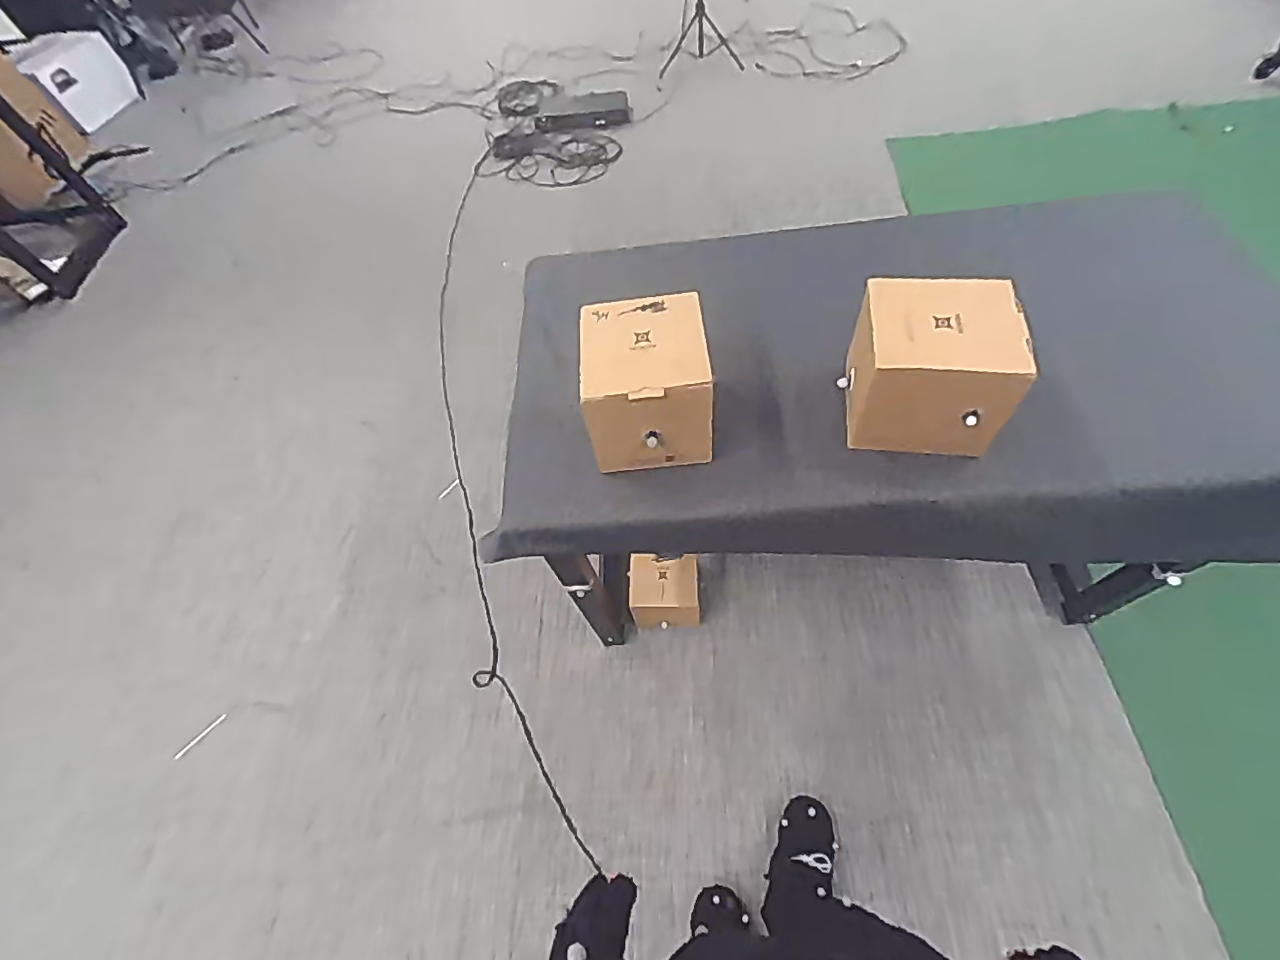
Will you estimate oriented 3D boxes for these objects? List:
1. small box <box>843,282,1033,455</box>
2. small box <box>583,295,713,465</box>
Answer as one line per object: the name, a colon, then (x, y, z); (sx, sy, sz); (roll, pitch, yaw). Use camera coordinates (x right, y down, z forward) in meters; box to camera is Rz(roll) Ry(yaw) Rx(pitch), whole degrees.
small box: (0.388, -0.148, 0.740); (0.179, 0.176, 0.168); (4, 58, 11)
small box: (0.015, -0.134, 0.775); (0.168, 0.176, 0.179); (-6, 57, 3)
